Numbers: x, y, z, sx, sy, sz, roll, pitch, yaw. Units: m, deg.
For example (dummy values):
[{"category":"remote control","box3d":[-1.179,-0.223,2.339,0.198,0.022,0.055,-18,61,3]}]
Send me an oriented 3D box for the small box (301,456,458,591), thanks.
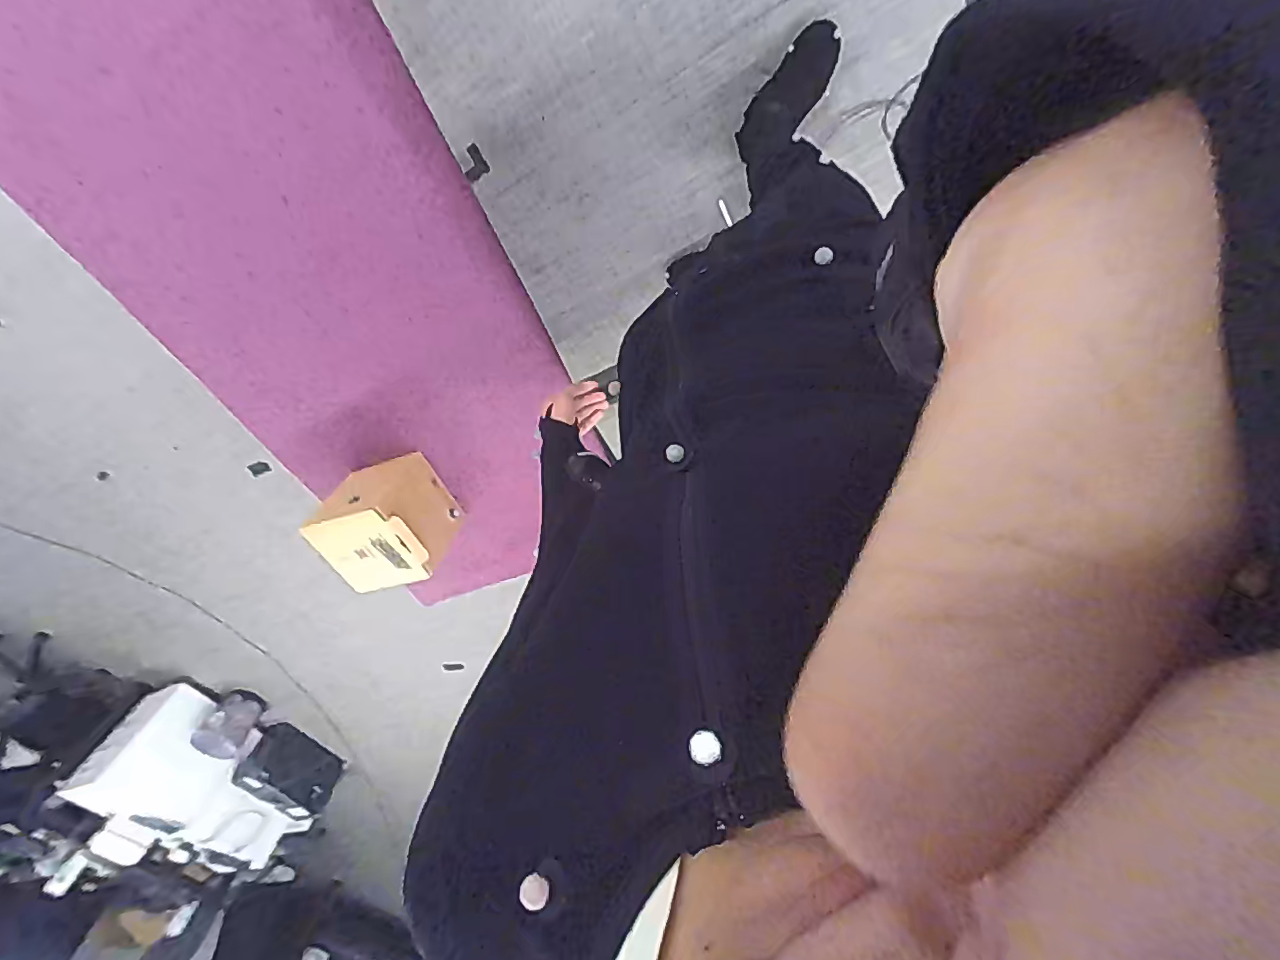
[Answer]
[{"category":"small box","box3d":[-0.464,0.077,1.000,0.179,0.176,0.168,-14,123,18]}]
